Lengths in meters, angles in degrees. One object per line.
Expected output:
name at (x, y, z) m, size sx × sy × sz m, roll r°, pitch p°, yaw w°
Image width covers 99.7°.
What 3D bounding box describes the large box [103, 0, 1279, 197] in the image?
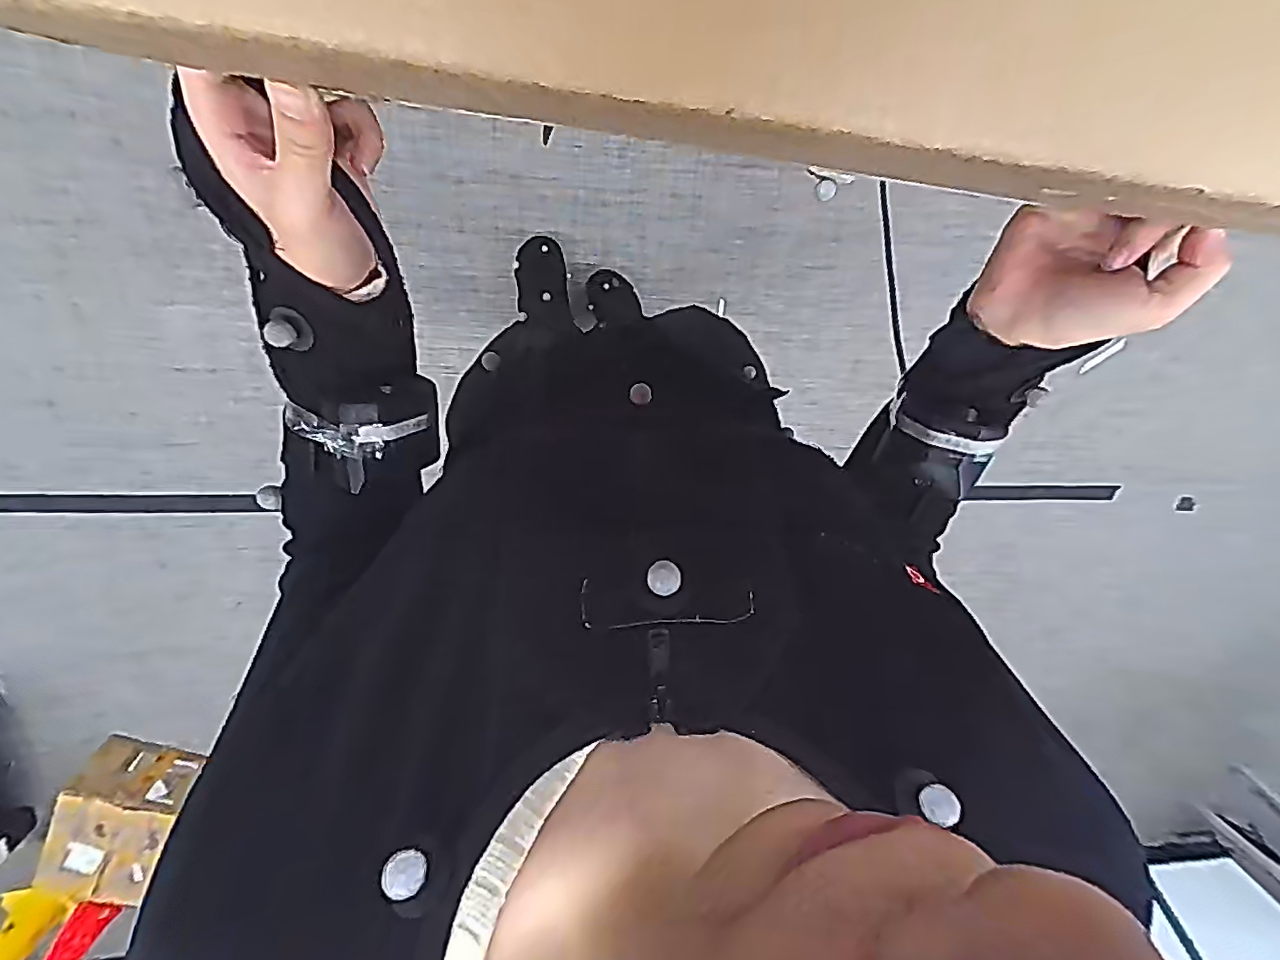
large box at (0.063, -0.291, 0.162) m, size 0.408 × 0.320 × 0.320 m, roll 3°, pitch 123°, yaw -9°
